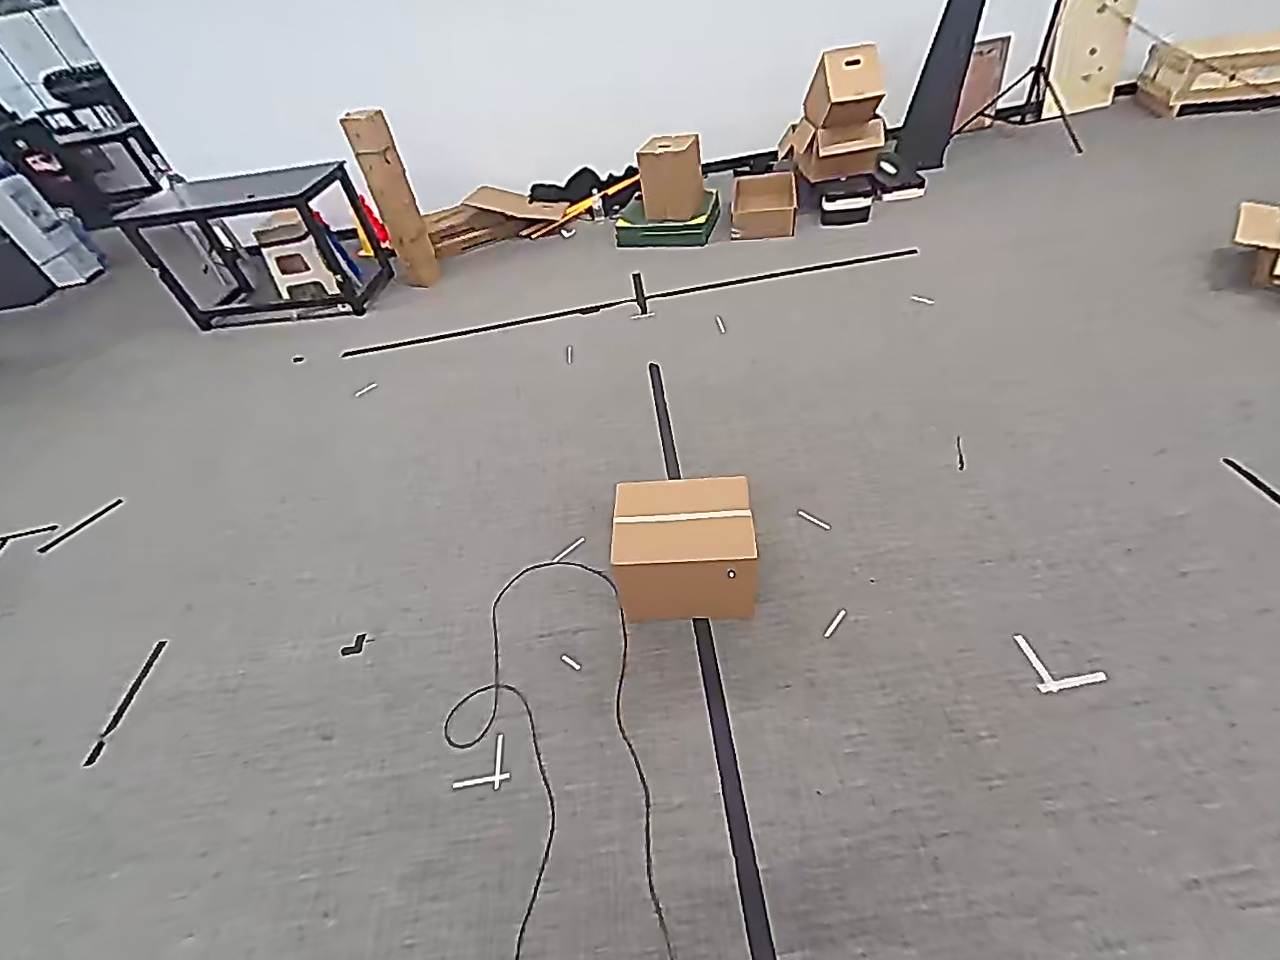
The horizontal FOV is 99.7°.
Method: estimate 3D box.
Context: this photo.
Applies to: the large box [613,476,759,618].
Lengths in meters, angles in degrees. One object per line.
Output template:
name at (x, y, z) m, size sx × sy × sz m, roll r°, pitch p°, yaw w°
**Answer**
large box at (0.143, 0.212, 1.674) m, size 0.408 × 0.320 × 0.320 m, roll -4°, pitch 46°, yaw 6°
